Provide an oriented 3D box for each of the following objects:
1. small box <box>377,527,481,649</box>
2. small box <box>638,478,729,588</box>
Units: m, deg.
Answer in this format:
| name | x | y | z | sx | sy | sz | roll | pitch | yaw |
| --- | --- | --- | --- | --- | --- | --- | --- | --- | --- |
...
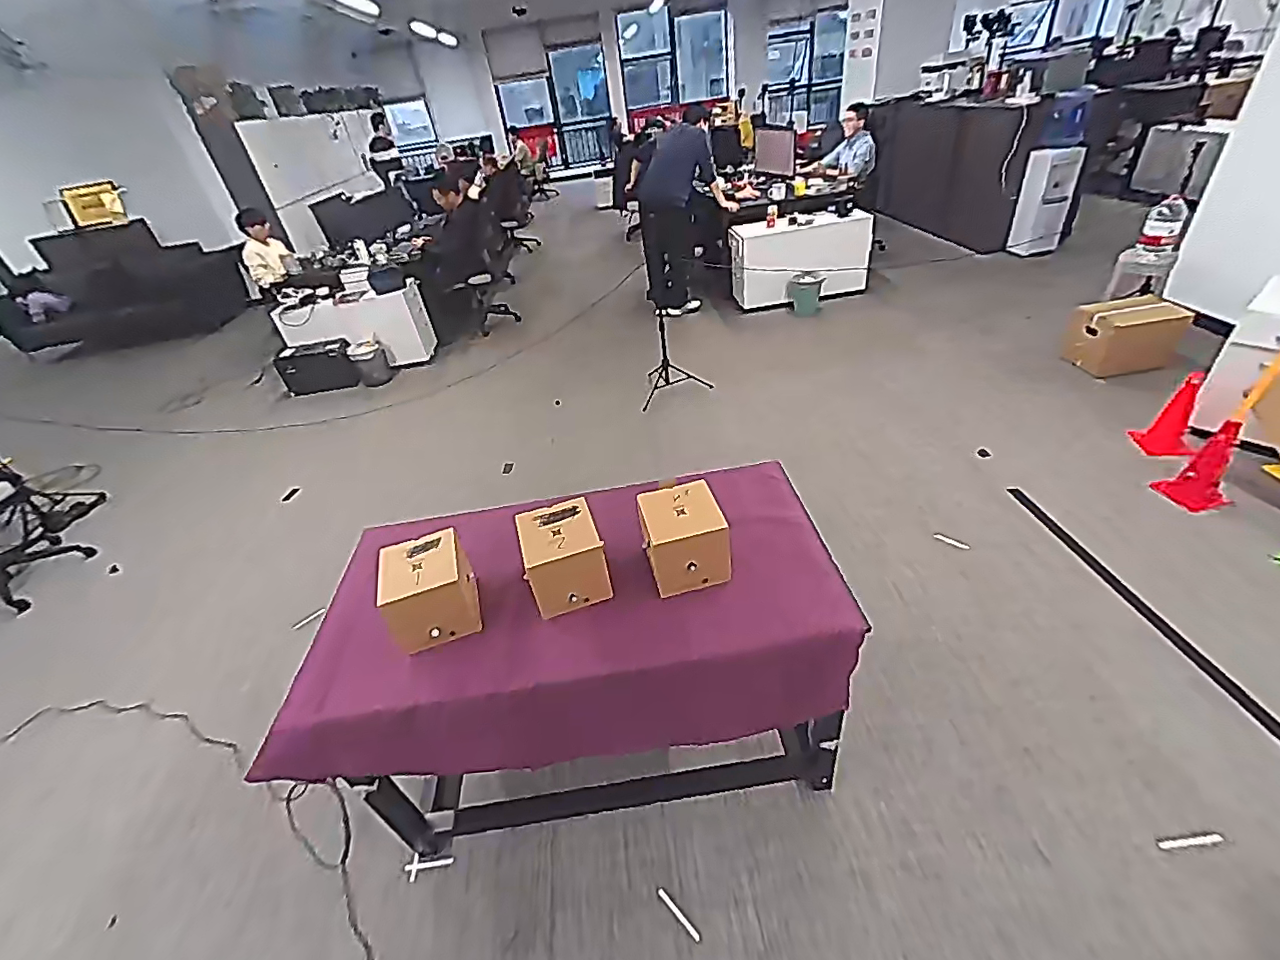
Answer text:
| name | x | y | z | sx | sy | sz | roll | pitch | yaw |
| --- | --- | --- | --- | --- | --- | --- | --- | --- | --- |
| small box | -0.462 | 0.238 | 1.199 | 0.168 | 0.176 | 0.179 | -18 | 38 | -11 |
| small box | 0.100 | 0.125 | 1.226 | 0.168 | 0.176 | 0.179 | -12 | 36 | -5 |
